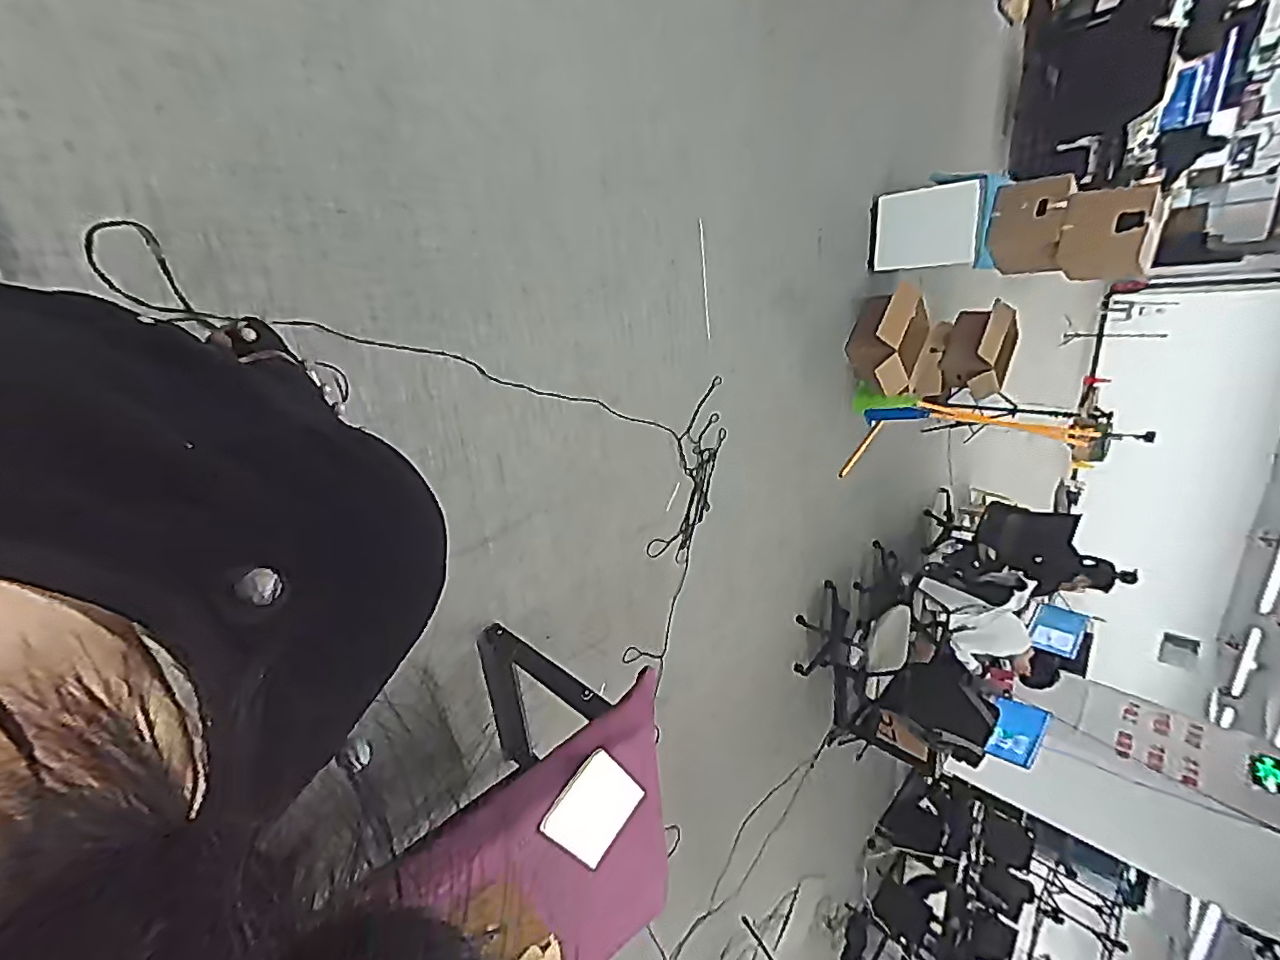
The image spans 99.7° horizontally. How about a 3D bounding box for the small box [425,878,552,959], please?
[{"bbox_3d":[-0.280,0.898,1.011,0.168,0.176,0.179,-22,115,-40],"label":"small box"}]
